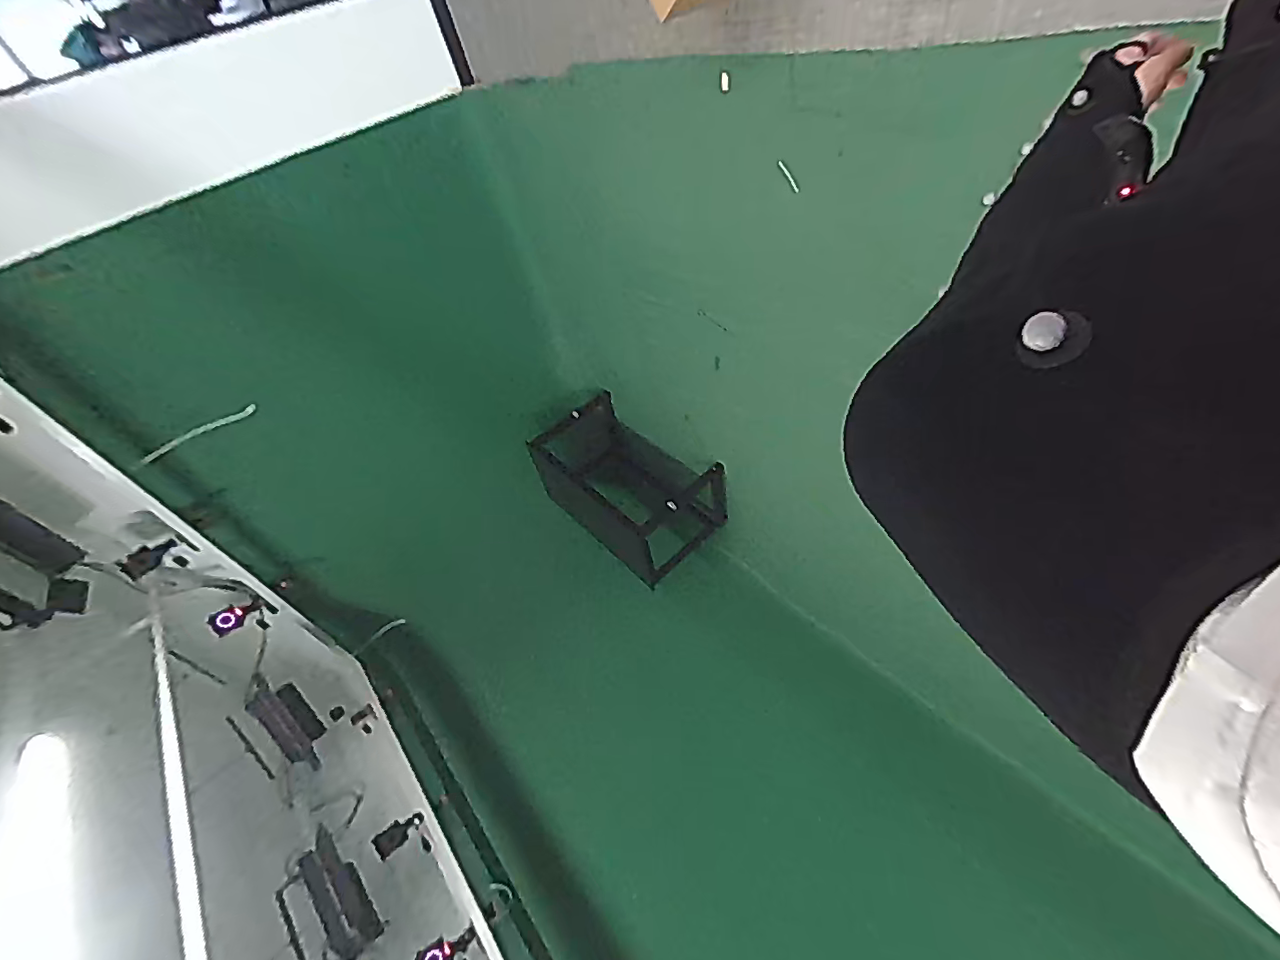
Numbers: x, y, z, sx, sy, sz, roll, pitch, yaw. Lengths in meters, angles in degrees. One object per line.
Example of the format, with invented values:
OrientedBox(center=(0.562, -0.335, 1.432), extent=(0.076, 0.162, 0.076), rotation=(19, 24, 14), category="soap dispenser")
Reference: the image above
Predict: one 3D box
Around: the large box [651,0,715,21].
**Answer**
OrientedBox(center=(0.131, -1.520, 1.370), extent=(0.408, 0.320, 0.320), rotation=(57, 159, -16), category="large box")
